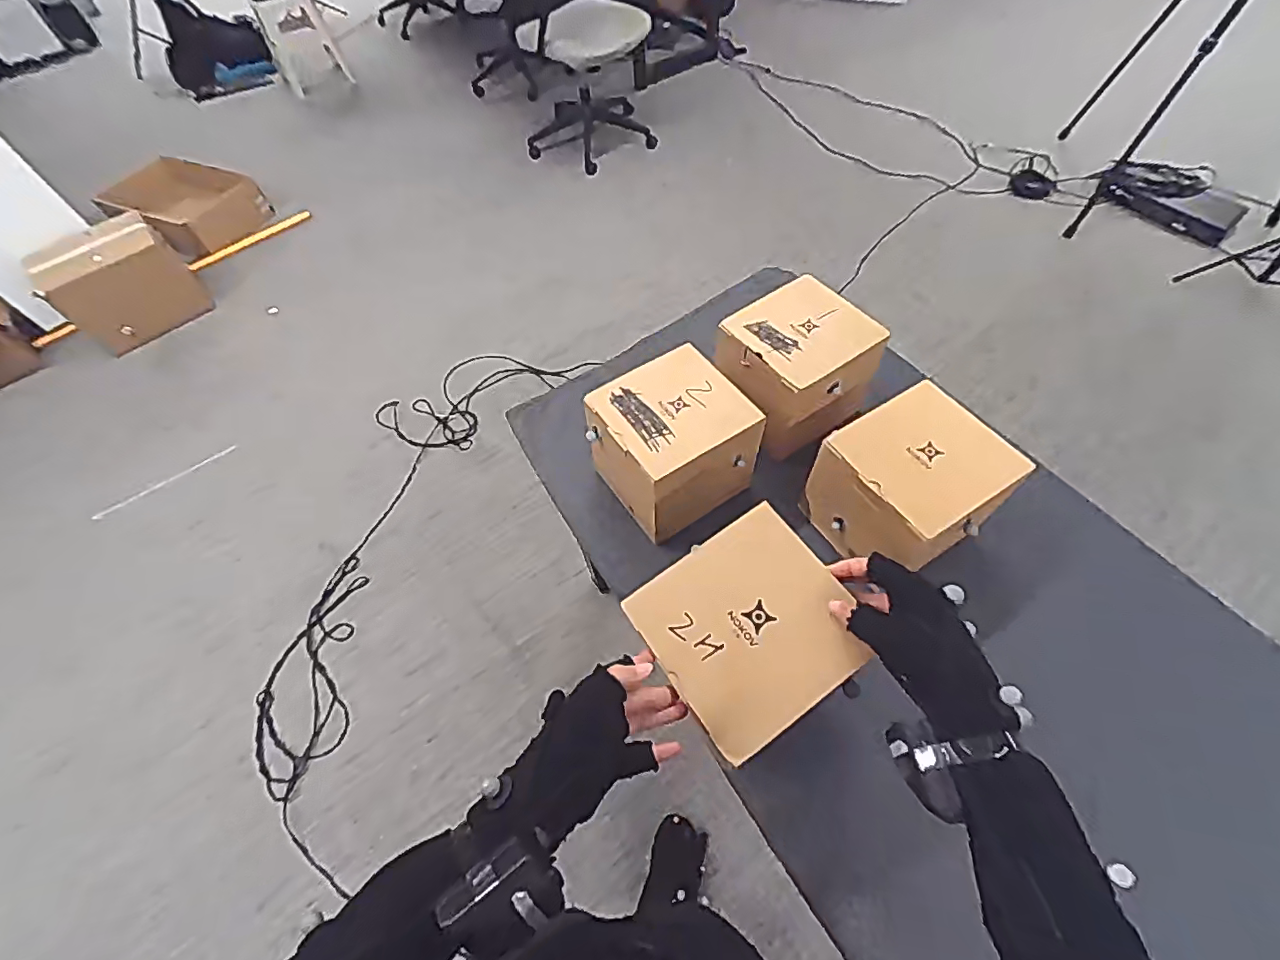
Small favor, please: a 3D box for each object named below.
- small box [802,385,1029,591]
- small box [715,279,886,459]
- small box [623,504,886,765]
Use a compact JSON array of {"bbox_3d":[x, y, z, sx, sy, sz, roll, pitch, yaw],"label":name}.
[{"bbox_3d":[0.339,0.015,0.706,0.179,0.176,0.168,-30,61,-13],"label":"small box"},{"bbox_3d":[0.229,-0.163,0.823,0.179,0.176,0.168,-32,62,-16],"label":"small box"},{"bbox_3d":[0.104,0.160,0.550,0.179,0.176,0.168,-33,64,-11],"label":"small box"}]
